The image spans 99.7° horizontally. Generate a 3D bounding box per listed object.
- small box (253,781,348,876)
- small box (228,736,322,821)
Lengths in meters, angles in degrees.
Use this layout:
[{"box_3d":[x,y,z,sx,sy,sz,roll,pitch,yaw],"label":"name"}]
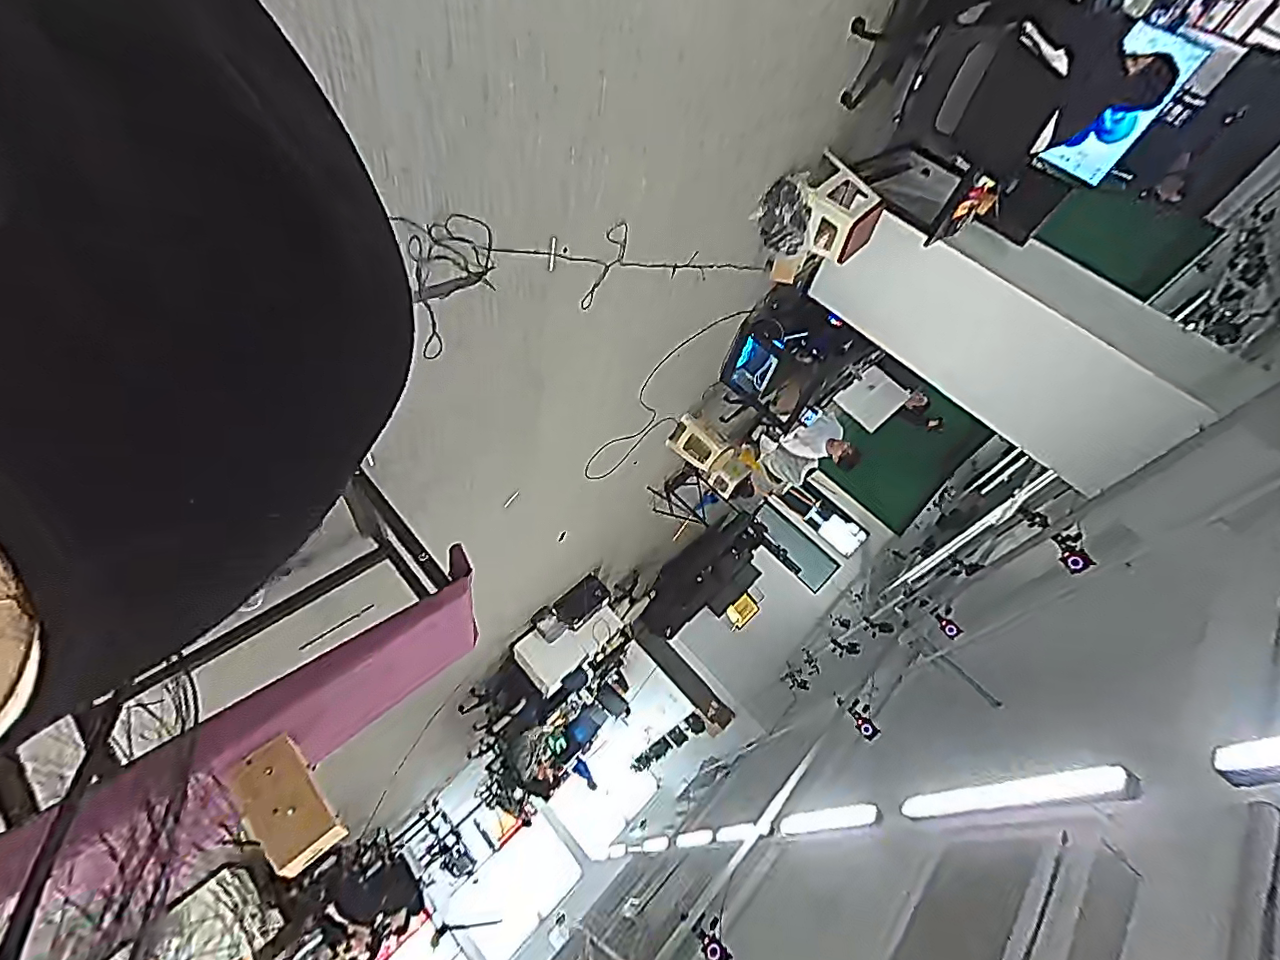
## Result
[{"box_3d":[-0.994,1.022,1.592,0.168,0.176,0.179,-34,158,-35],"label":"small box"},{"box_3d":[-1.105,0.910,1.640,0.168,0.176,0.179,-33,158,-35],"label":"small box"}]
